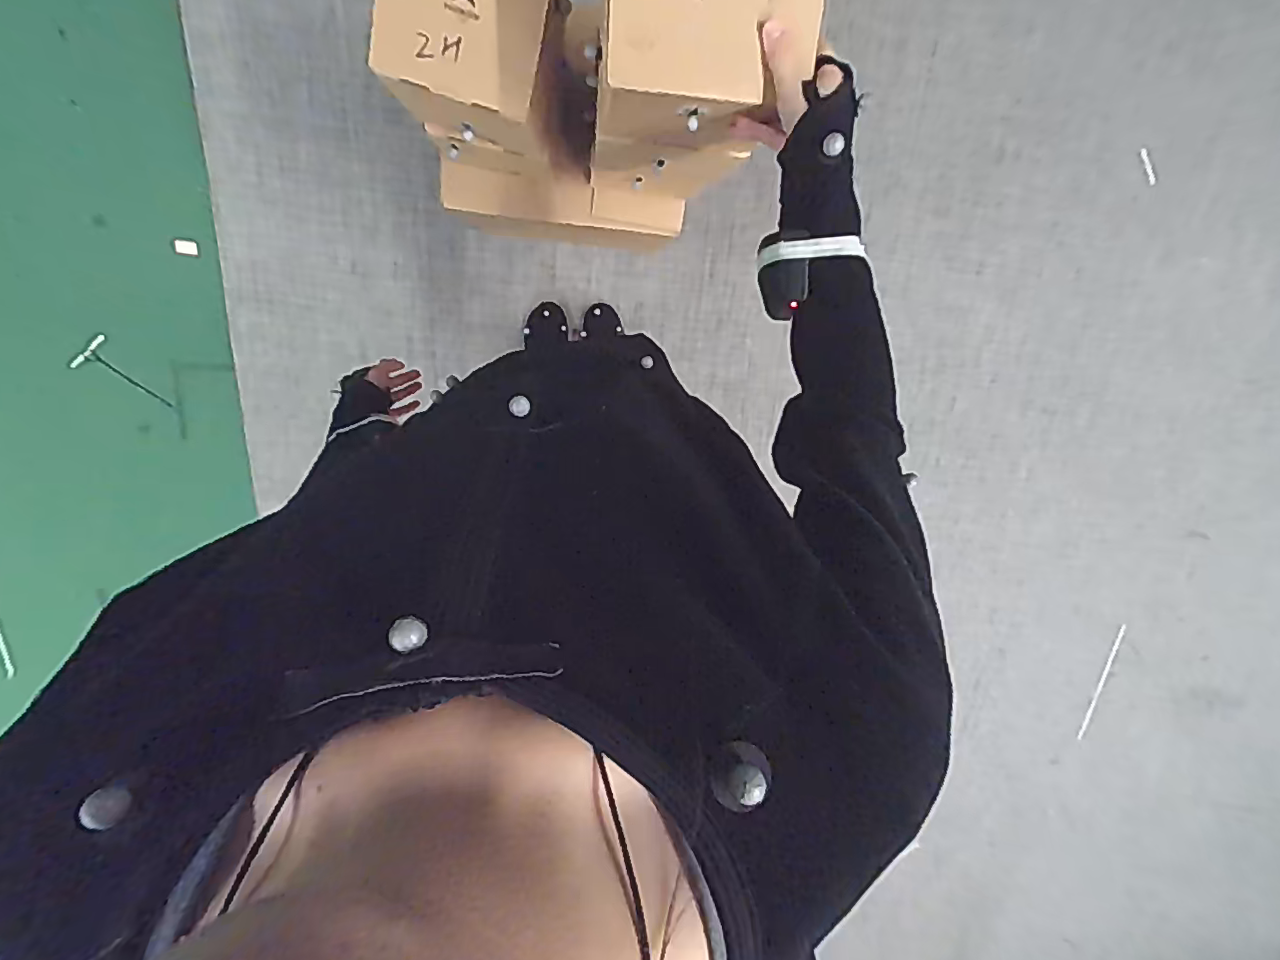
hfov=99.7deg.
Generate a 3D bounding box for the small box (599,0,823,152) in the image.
[{"bbox_3d":[0.054,-0.419,0.498,0.179,0.176,0.168,2,111,-7],"label":"small box"}]
